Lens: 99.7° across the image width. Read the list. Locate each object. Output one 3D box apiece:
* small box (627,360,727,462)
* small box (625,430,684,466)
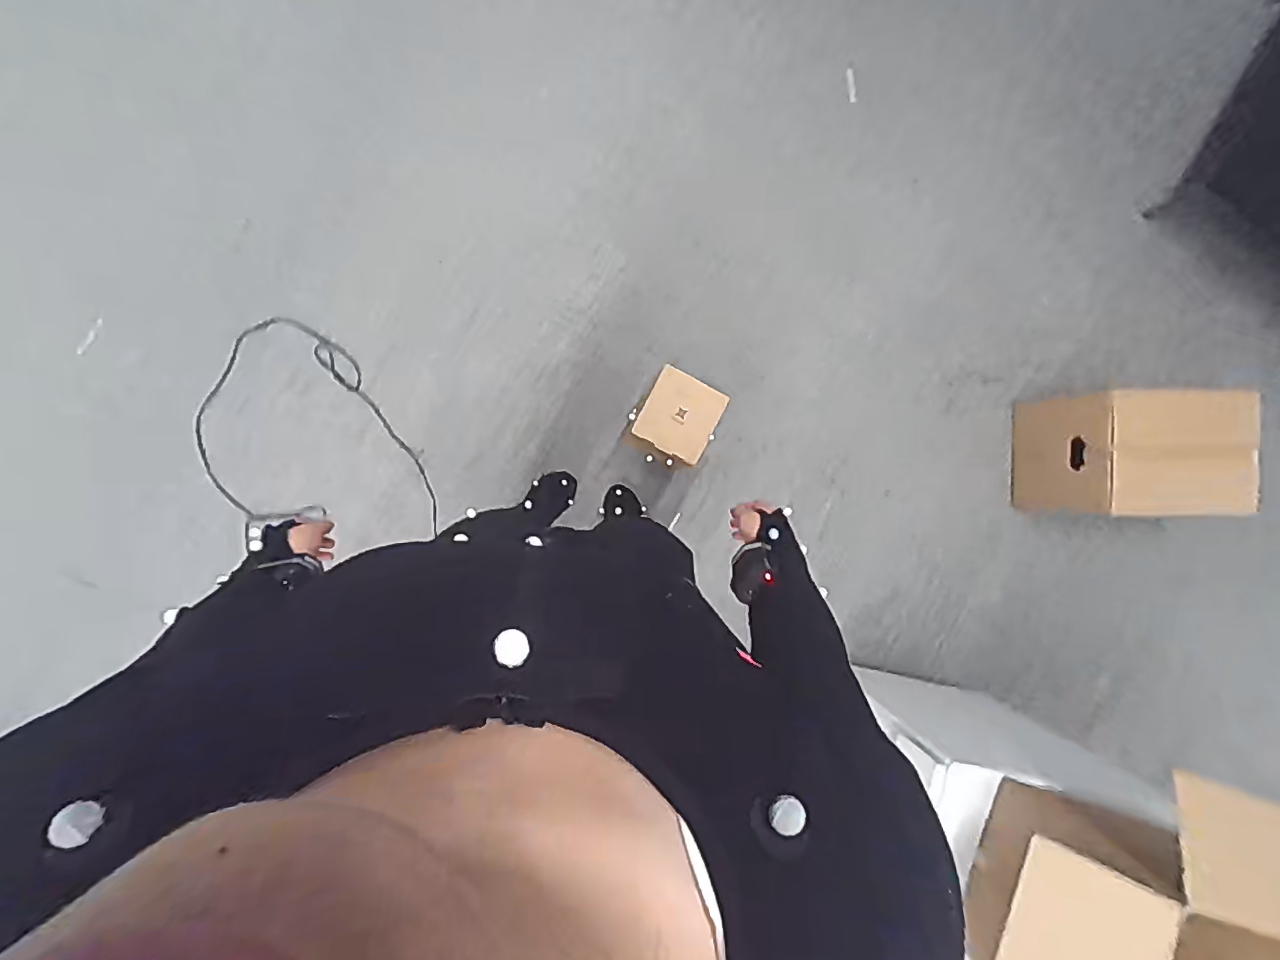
[{"bbox_3d":[0.078,-0.153,1.276,0.168,0.176,0.179,27,87,-7],"label":"small box"},{"bbox_3d":[0.071,-0.151,1.439,0.168,0.176,0.179,30,88,-6],"label":"small box"}]
